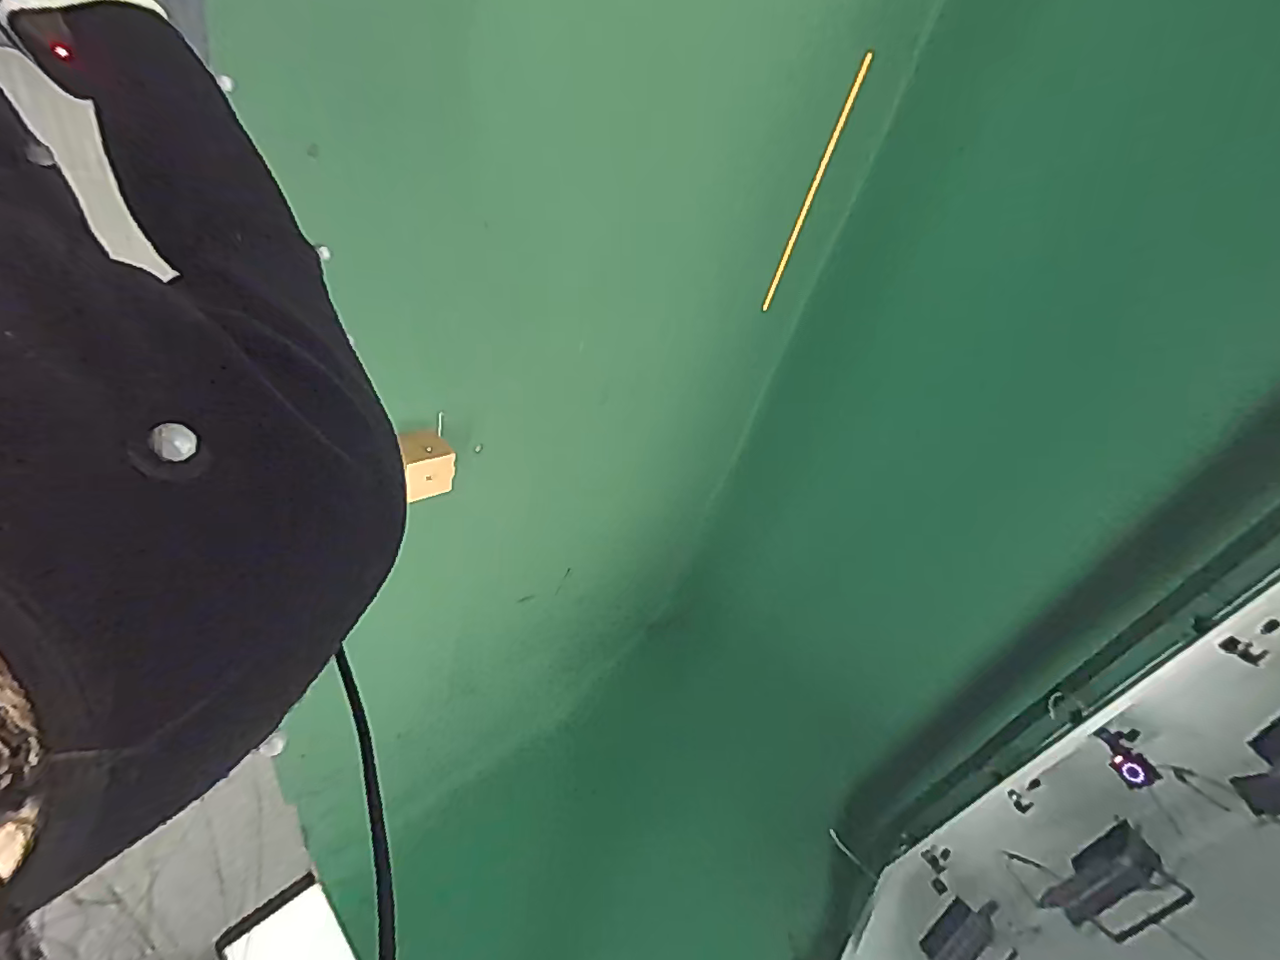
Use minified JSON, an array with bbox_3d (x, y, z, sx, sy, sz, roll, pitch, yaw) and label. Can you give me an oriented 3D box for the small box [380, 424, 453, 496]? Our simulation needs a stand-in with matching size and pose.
[{"bbox_3d":[-0.771,-0.074,1.858,0.179,0.176,0.168,-21,141,-45],"label":"small box"}]
